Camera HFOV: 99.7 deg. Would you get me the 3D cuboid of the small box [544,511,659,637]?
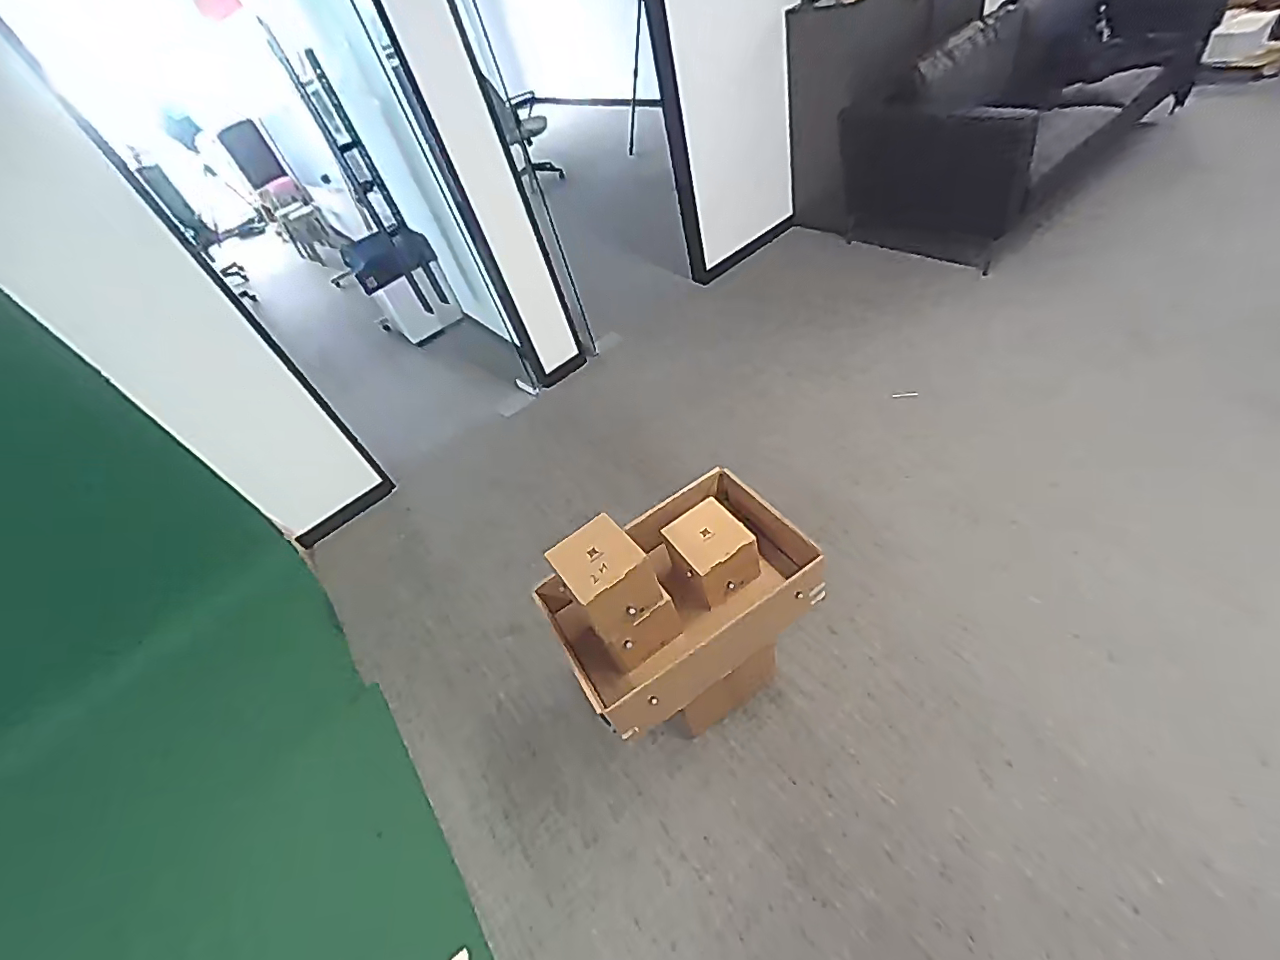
[{"bbox_3d":[-0.081,0.208,1.185,0.168,0.176,0.179,-35,49,-14],"label":"small box"}]
